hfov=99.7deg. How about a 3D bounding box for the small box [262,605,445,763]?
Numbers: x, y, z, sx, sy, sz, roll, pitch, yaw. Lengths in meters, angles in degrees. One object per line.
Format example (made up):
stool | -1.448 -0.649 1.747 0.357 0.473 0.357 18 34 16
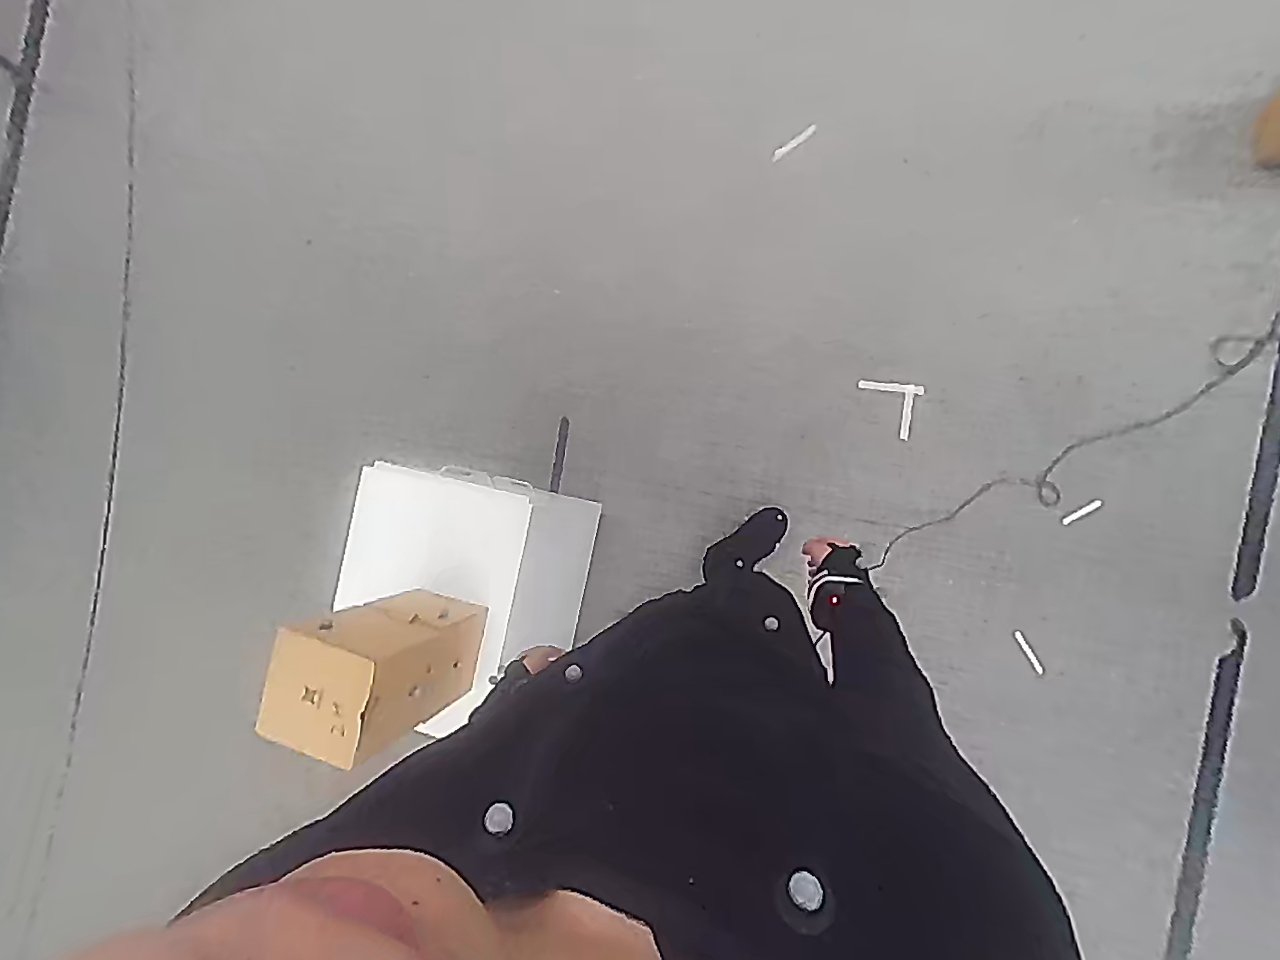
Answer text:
small box | -0.449 0.311 0.868 0.179 0.176 0.168 14 92 11

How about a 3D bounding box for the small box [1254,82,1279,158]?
small box | 1.657 -0.908 1.301 0.168 0.176 0.179 11 90 11
